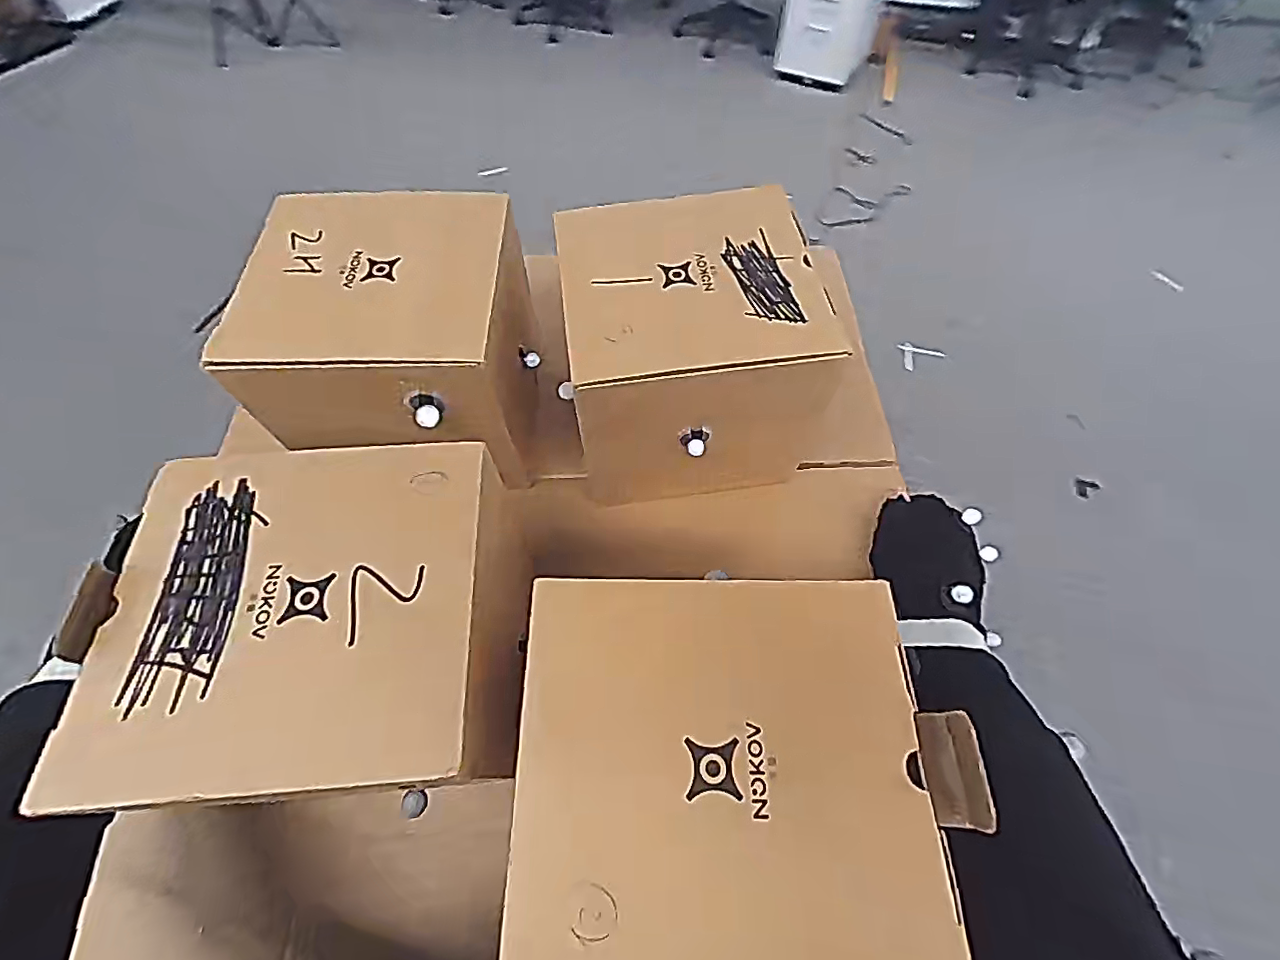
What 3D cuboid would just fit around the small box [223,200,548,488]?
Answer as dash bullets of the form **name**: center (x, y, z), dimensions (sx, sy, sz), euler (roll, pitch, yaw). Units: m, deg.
- **small box**: center (-0.177, -0.103, 0.449), dimensions (0.179, 0.176, 0.168), euler (0, 61, 1)
